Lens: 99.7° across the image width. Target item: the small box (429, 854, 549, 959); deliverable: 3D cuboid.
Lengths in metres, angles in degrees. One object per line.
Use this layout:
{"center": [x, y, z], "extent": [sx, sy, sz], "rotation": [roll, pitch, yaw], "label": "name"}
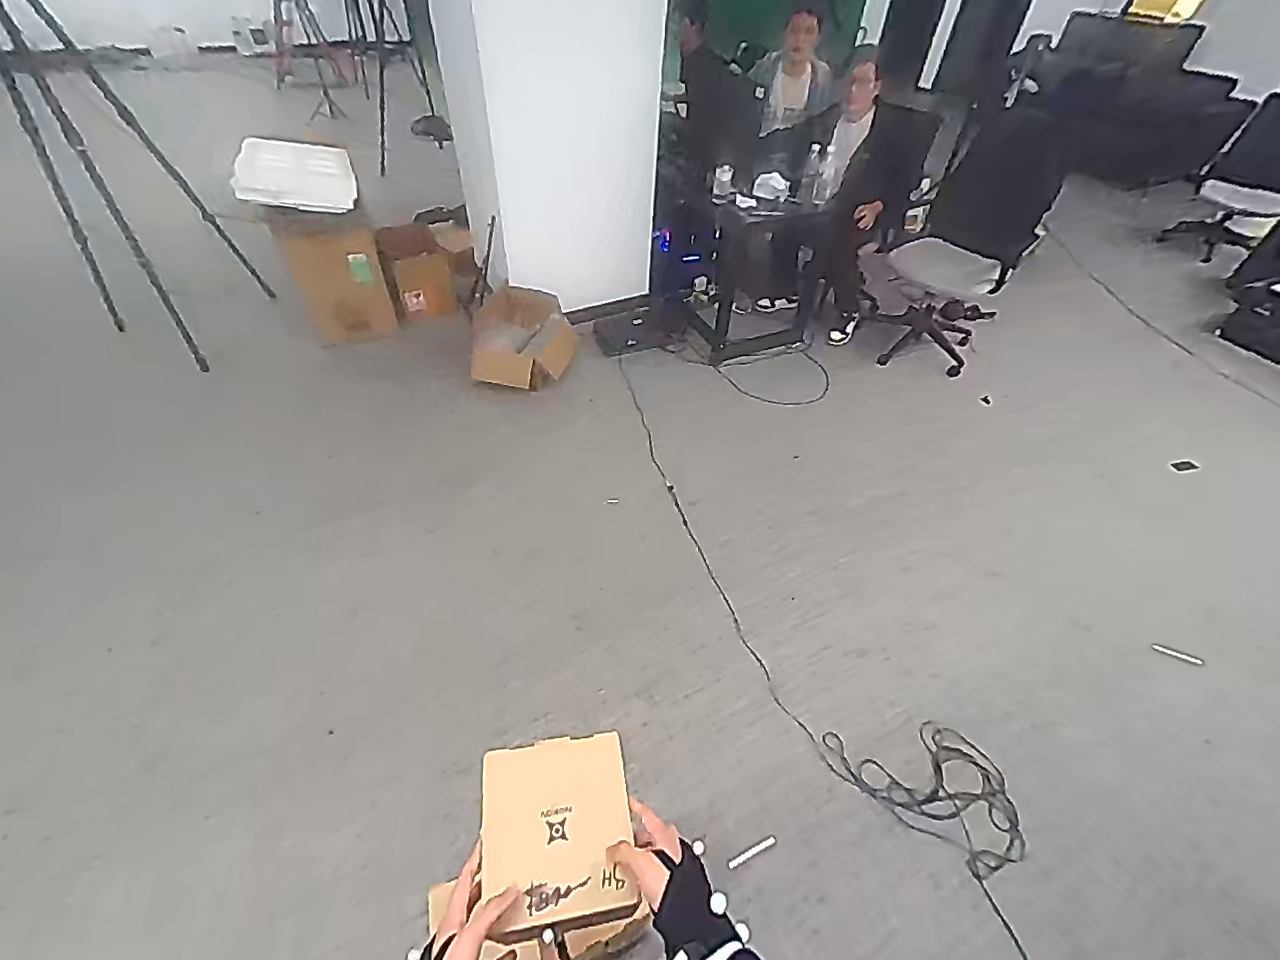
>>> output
{"center": [-0.254, 0.783, 0.926], "extent": [0.168, 0.176, 0.179], "rotation": [-13, 48, -13], "label": "small box"}
